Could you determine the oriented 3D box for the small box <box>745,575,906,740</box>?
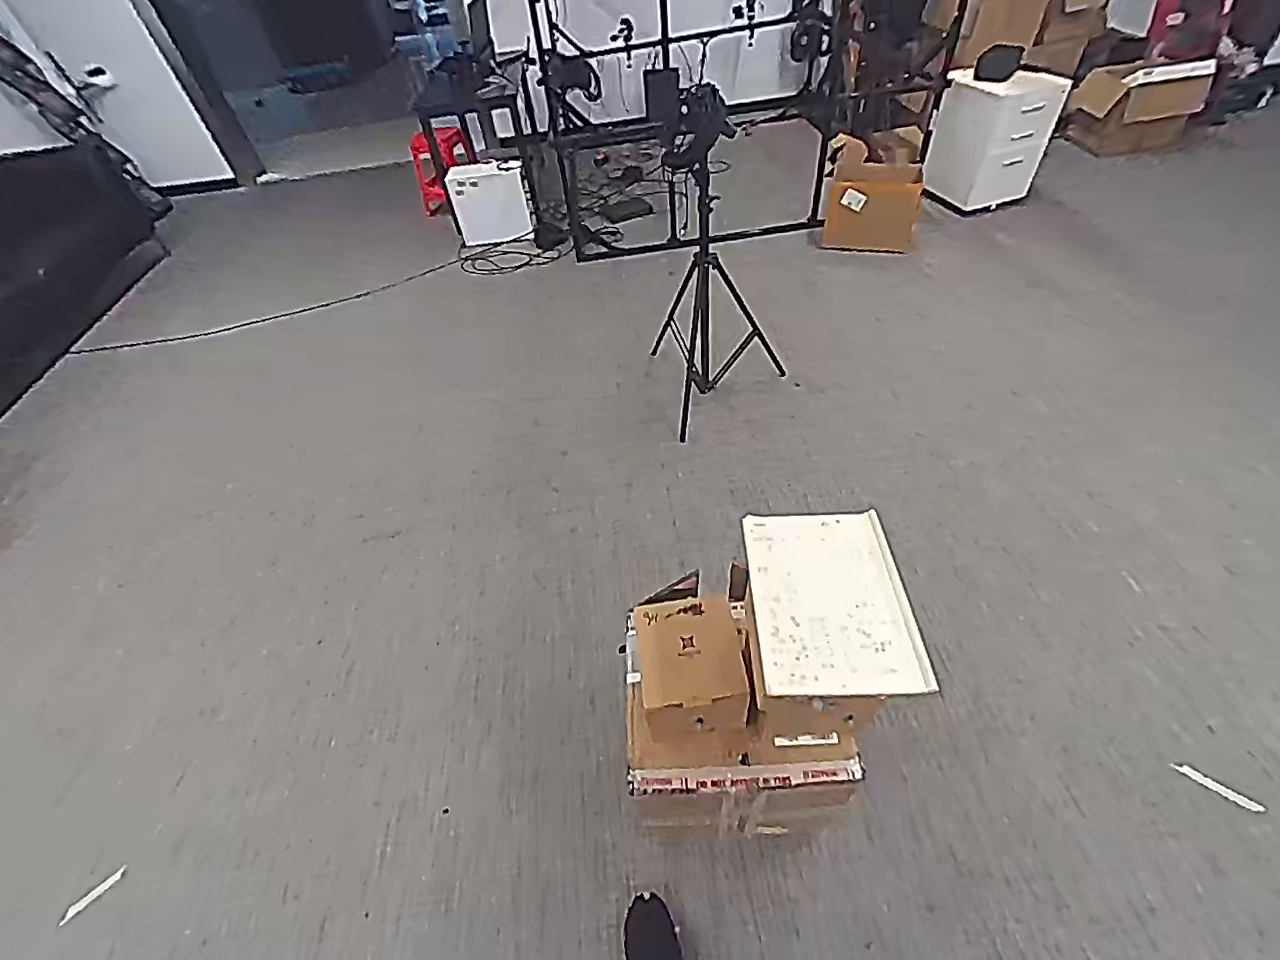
[{"bbox_3d":[0.248,0.255,0.775,0.168,0.176,0.179,-1,50,2],"label":"small box"}]
